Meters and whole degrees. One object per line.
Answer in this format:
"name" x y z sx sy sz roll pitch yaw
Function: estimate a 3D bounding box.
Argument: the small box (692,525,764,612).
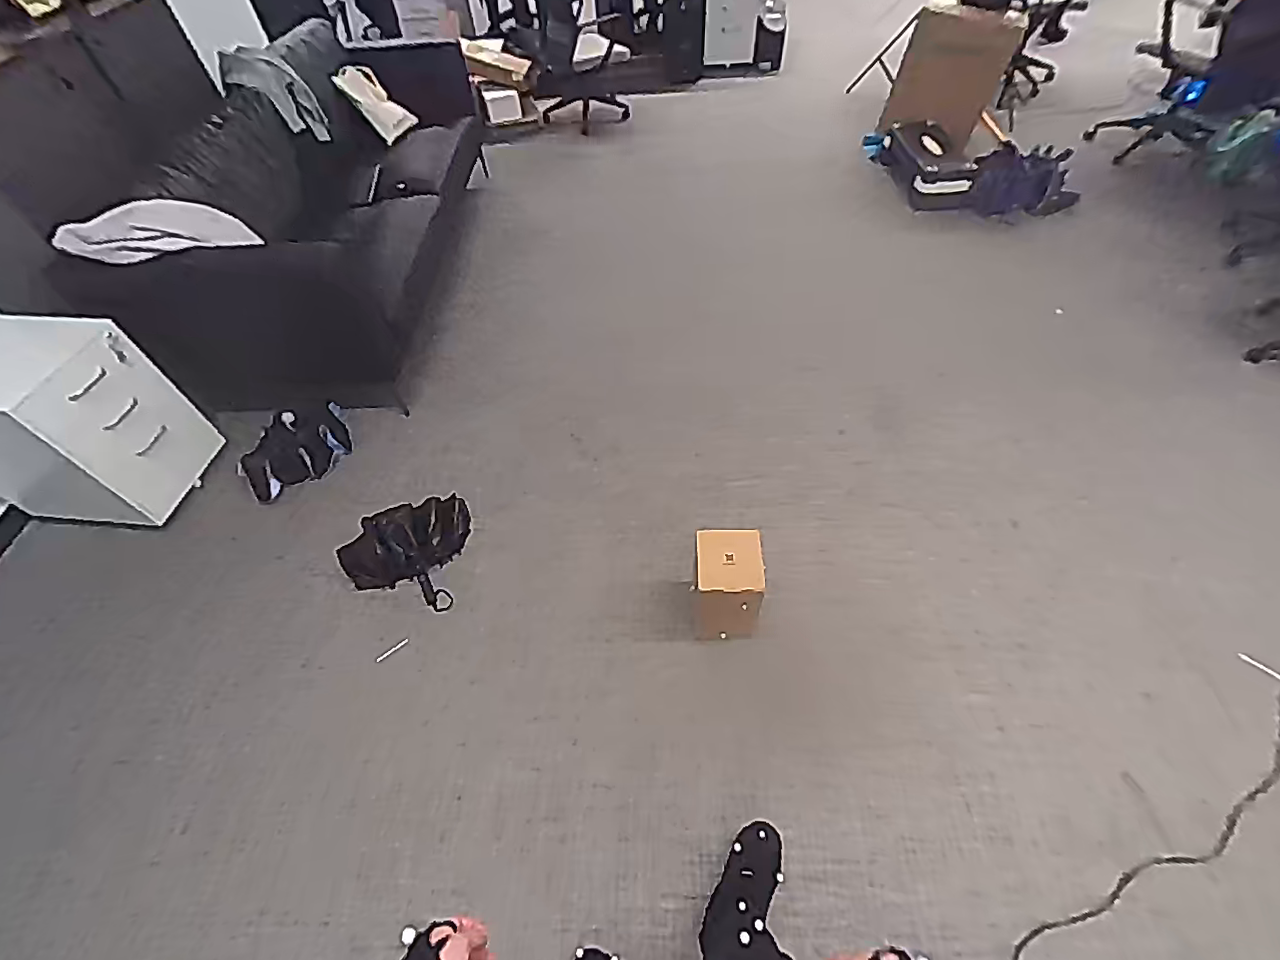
"small box" 0.223 0.234 1.410 0.168 0.176 0.179 -1 53 2

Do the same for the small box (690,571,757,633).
"small box" 0.232 0.325 1.544 0.168 0.176 0.179 -2 55 2
